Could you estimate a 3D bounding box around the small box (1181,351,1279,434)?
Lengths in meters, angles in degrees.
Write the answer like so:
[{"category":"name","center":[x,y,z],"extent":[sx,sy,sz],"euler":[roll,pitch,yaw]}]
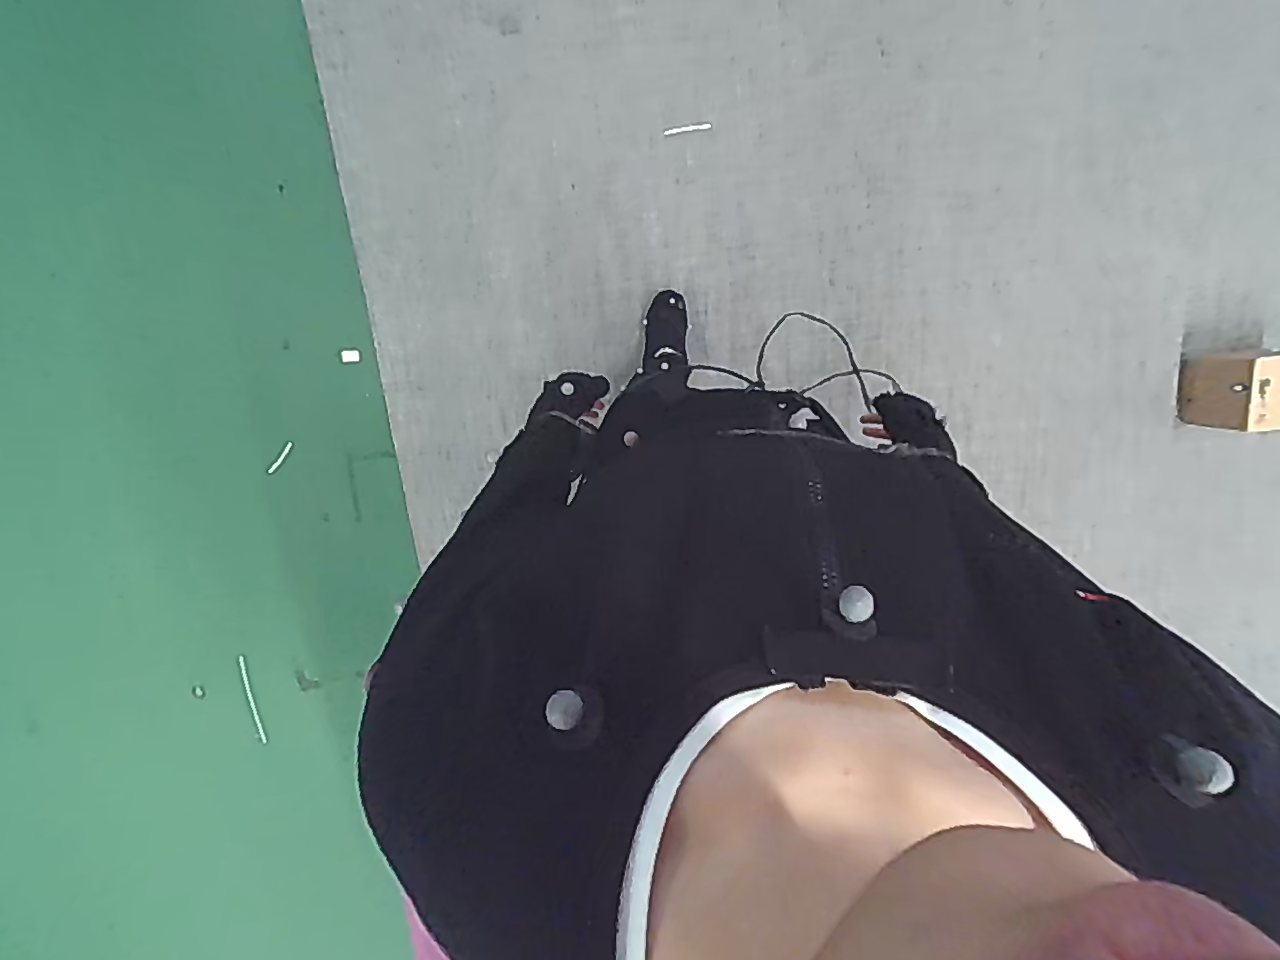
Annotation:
[{"category":"small box","center":[1.423,-0.206,1.245],"extent":[0.179,0.176,0.168],"euler":[-6,102,5]}]
